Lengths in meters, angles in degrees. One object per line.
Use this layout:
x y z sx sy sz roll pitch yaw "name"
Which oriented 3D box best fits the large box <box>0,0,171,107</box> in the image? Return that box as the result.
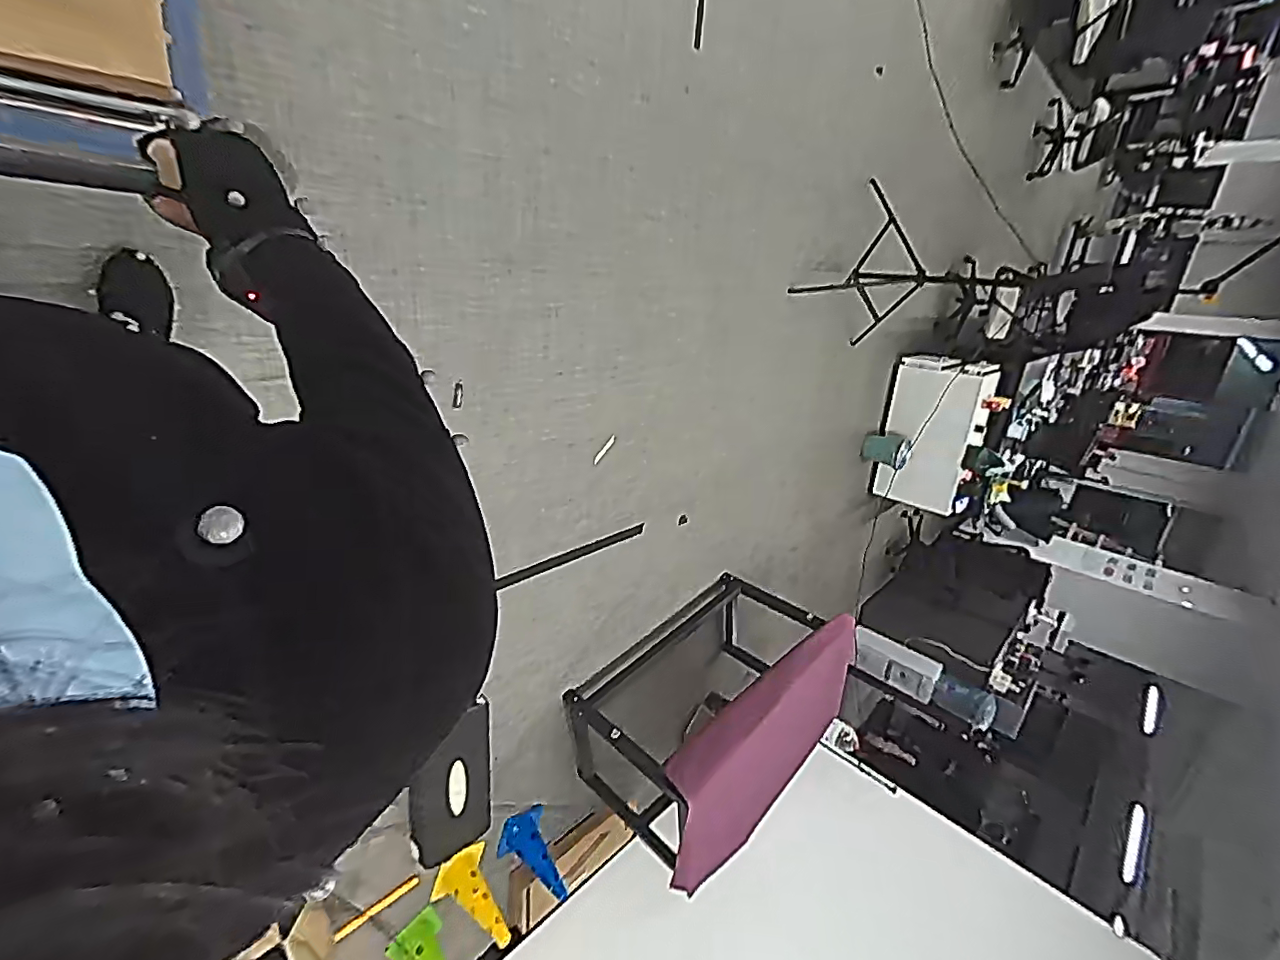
-0.855 -0.667 0.621 0.408 0.320 0.320 -16 124 -44 "large box"
